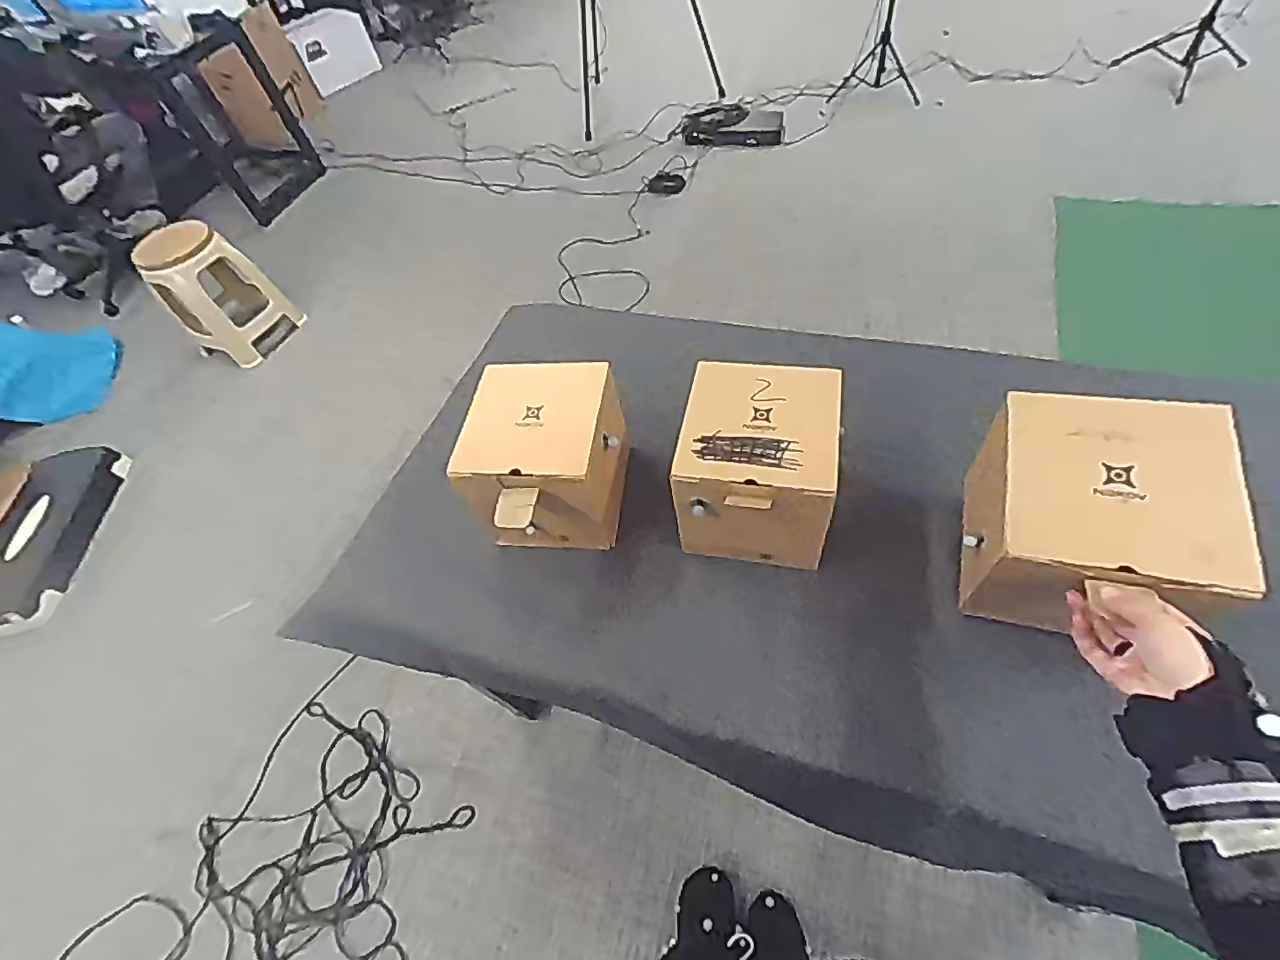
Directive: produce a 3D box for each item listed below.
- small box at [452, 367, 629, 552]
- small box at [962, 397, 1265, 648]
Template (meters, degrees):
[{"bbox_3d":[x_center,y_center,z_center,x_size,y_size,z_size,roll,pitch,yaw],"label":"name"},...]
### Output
[{"bbox_3d":[-0.112,-0.026,0.702,0.168,0.176,0.179,1,56,10],"label":"small box"},{"bbox_3d":[0.427,0.045,0.524,0.168,0.176,0.179,9,62,21],"label":"small box"}]
